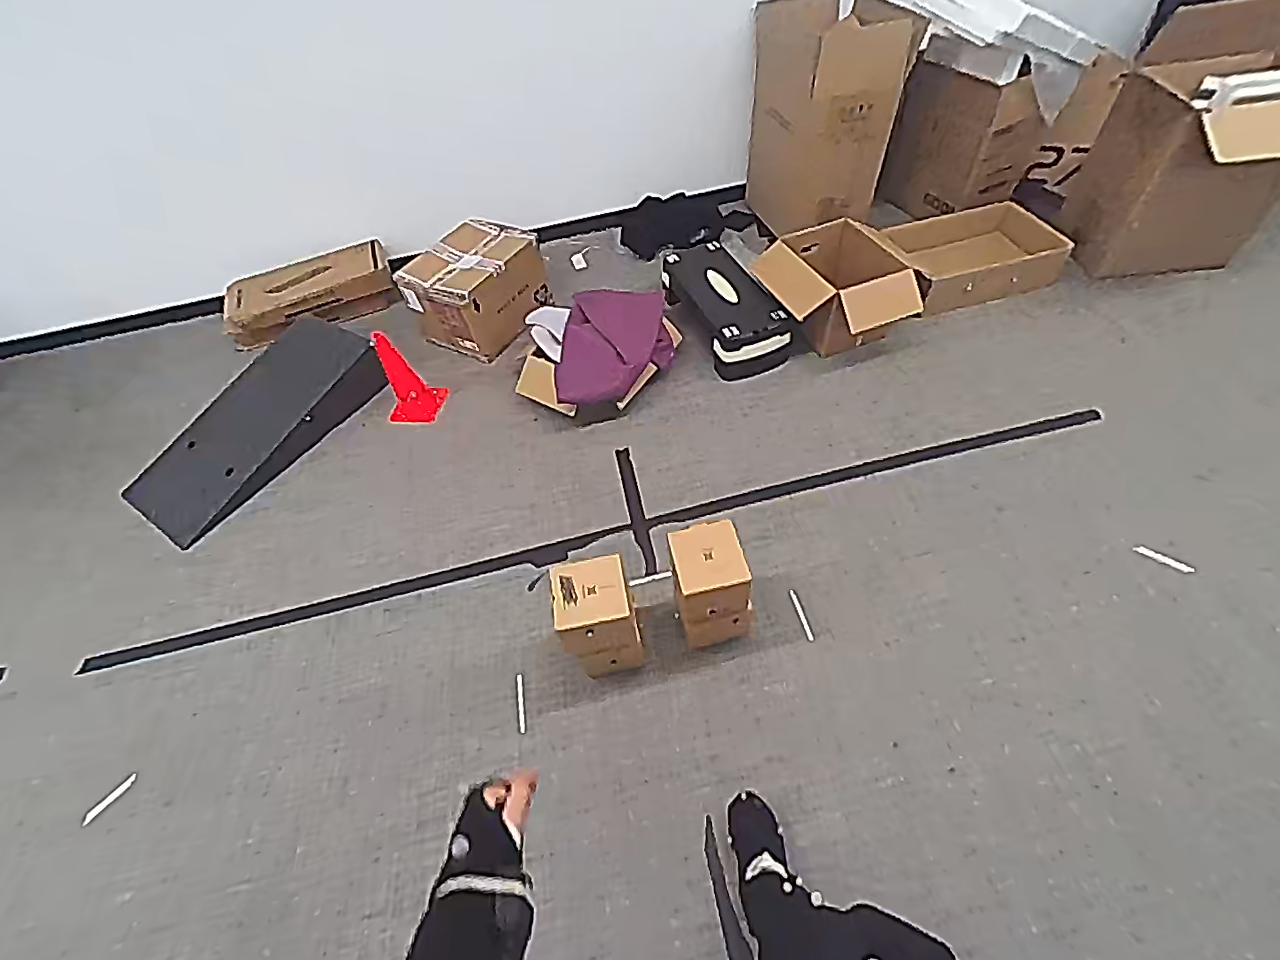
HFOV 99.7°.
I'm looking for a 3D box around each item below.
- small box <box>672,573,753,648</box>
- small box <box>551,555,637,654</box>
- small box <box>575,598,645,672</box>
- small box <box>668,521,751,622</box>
[{"bbox_3d":[0.193,0.338,1.477,0.179,0.176,0.168,-14,52,-4],"label":"small box"},{"bbox_3d":[-0.111,0.309,1.325,0.179,0.176,0.168,-11,52,0],"label":"small box"},{"bbox_3d":[-0.086,0.405,1.460,0.168,0.176,0.179,-11,53,-1],"label":"small box"},{"bbox_3d":[0.170,0.231,1.355,0.168,0.176,0.179,-13,54,-2],"label":"small box"}]
